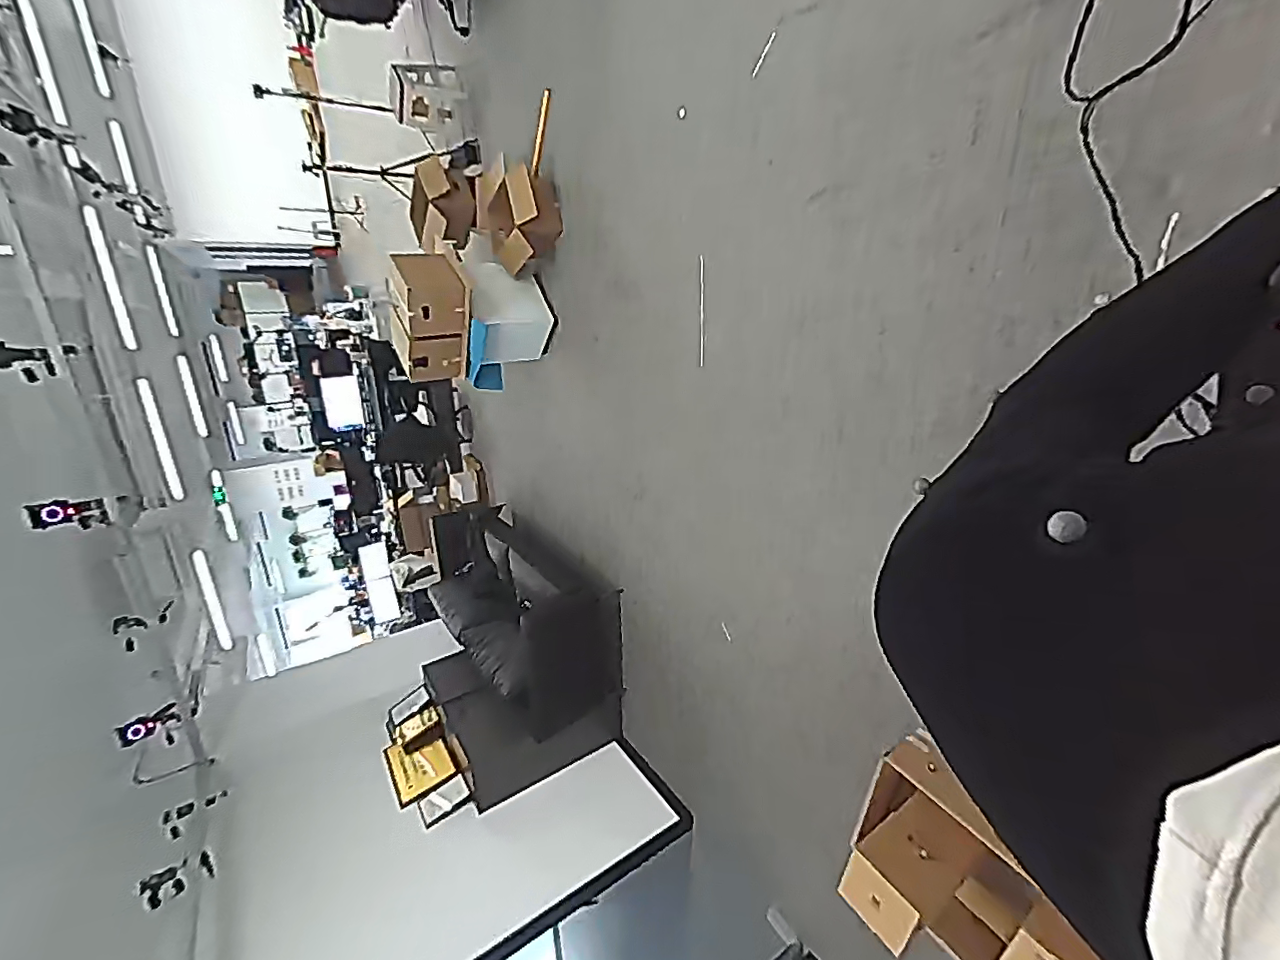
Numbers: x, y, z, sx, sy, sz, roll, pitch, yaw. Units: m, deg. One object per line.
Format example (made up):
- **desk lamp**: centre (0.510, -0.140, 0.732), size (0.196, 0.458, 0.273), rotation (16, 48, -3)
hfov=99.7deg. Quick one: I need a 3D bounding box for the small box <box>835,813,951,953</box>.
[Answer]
- **small box**: centre (0.598, 0.944, 1.280), size (0.168, 0.176, 0.179), rotation (35, 128, 46)
